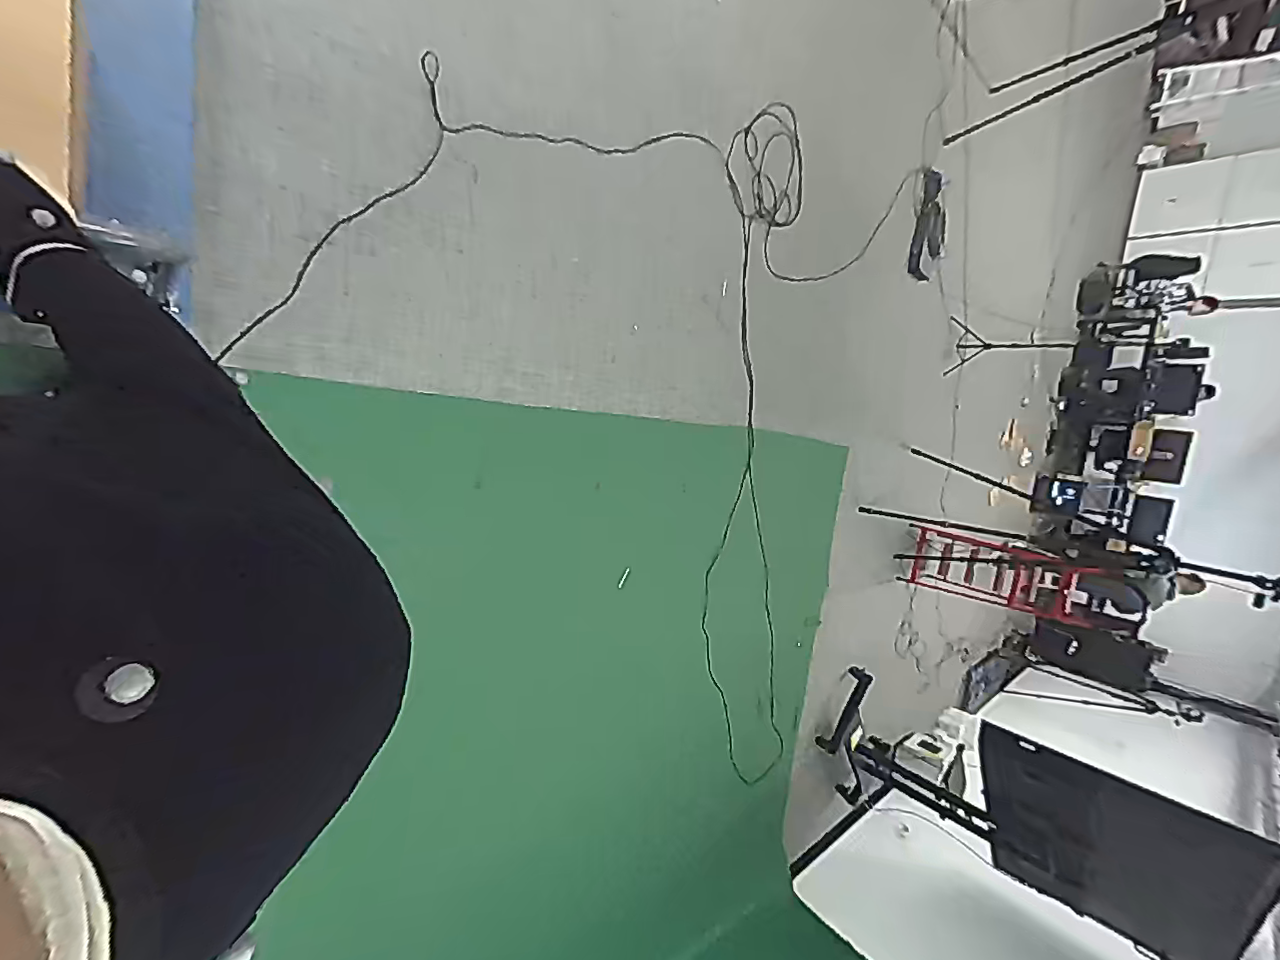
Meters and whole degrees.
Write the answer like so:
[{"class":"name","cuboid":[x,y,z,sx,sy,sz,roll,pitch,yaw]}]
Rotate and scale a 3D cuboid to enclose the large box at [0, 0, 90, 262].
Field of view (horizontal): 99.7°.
[{"class":"large box","cuboid":[-1.018,-0.570,0.767,0.320,0.320,0.408,0,98,-43]}]
